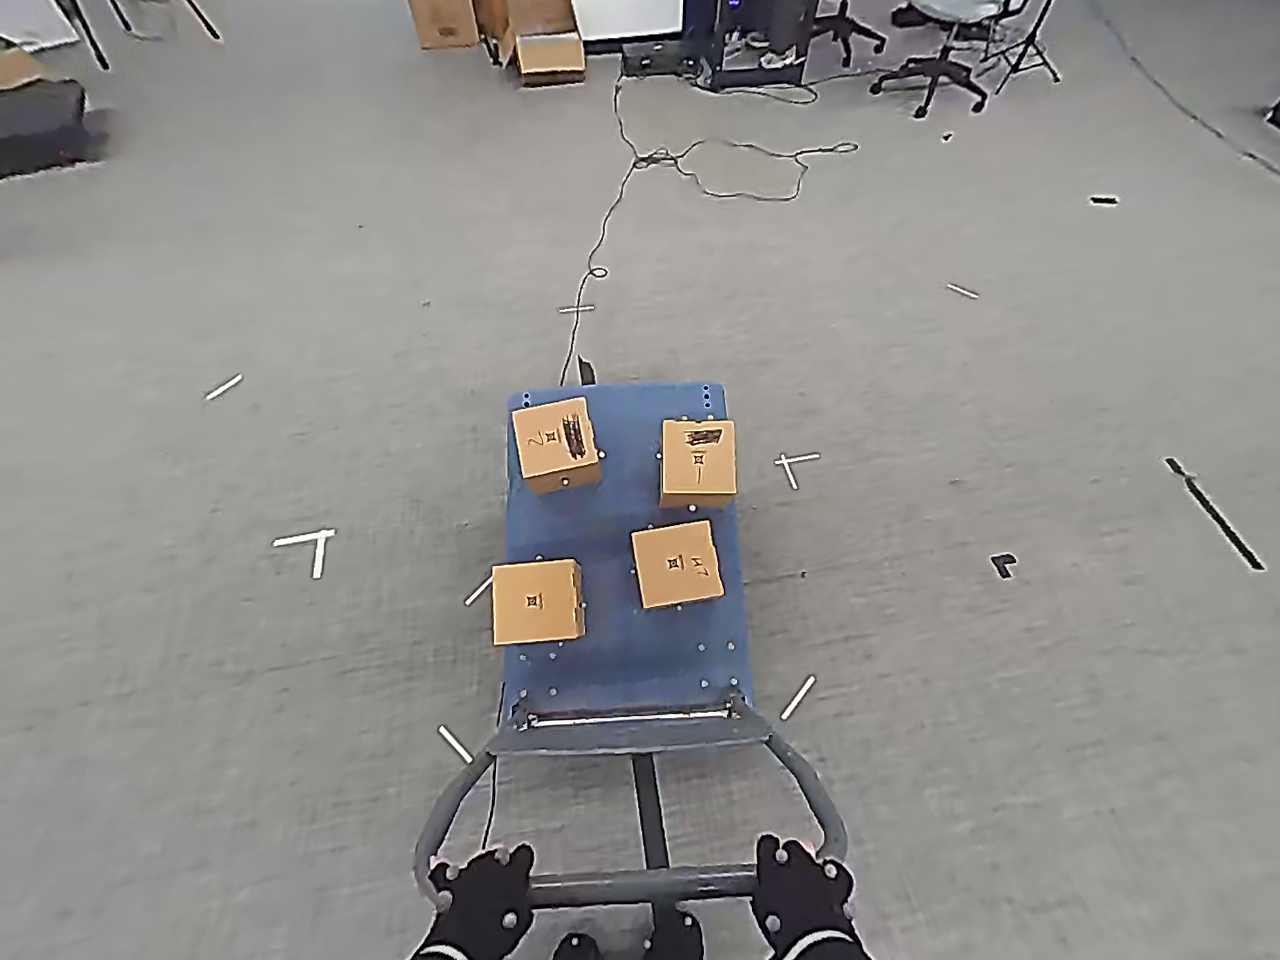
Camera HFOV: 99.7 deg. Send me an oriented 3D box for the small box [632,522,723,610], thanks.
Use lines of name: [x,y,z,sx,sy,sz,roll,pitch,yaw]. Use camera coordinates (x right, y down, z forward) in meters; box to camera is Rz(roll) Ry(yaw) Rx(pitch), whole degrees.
small box: [0.082,0.203,1.237,0.179,0.176,0.168,-9,76,-2]

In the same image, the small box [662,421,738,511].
small box: [0.139,-0.030,1.299,0.168,0.176,0.179,1,76,1]

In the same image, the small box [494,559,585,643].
small box: [-0.221,0.277,1.219,0.179,0.176,0.168,-5,75,-3]
